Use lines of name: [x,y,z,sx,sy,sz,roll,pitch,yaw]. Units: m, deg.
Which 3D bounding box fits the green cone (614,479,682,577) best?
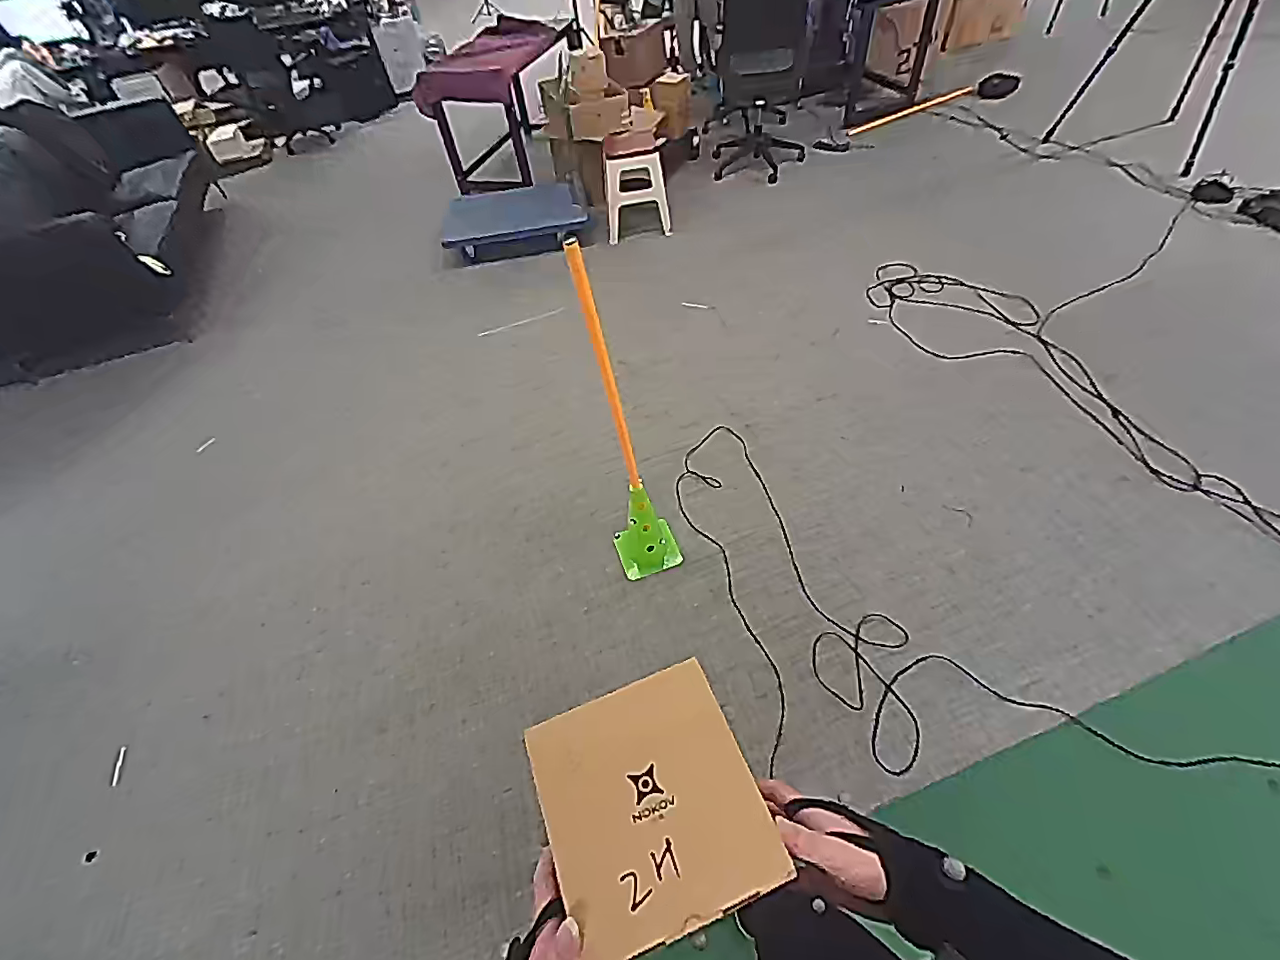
green cone: [0.012,0.128,1.751,0.202,0.368,0.200,-18,52,-8]
